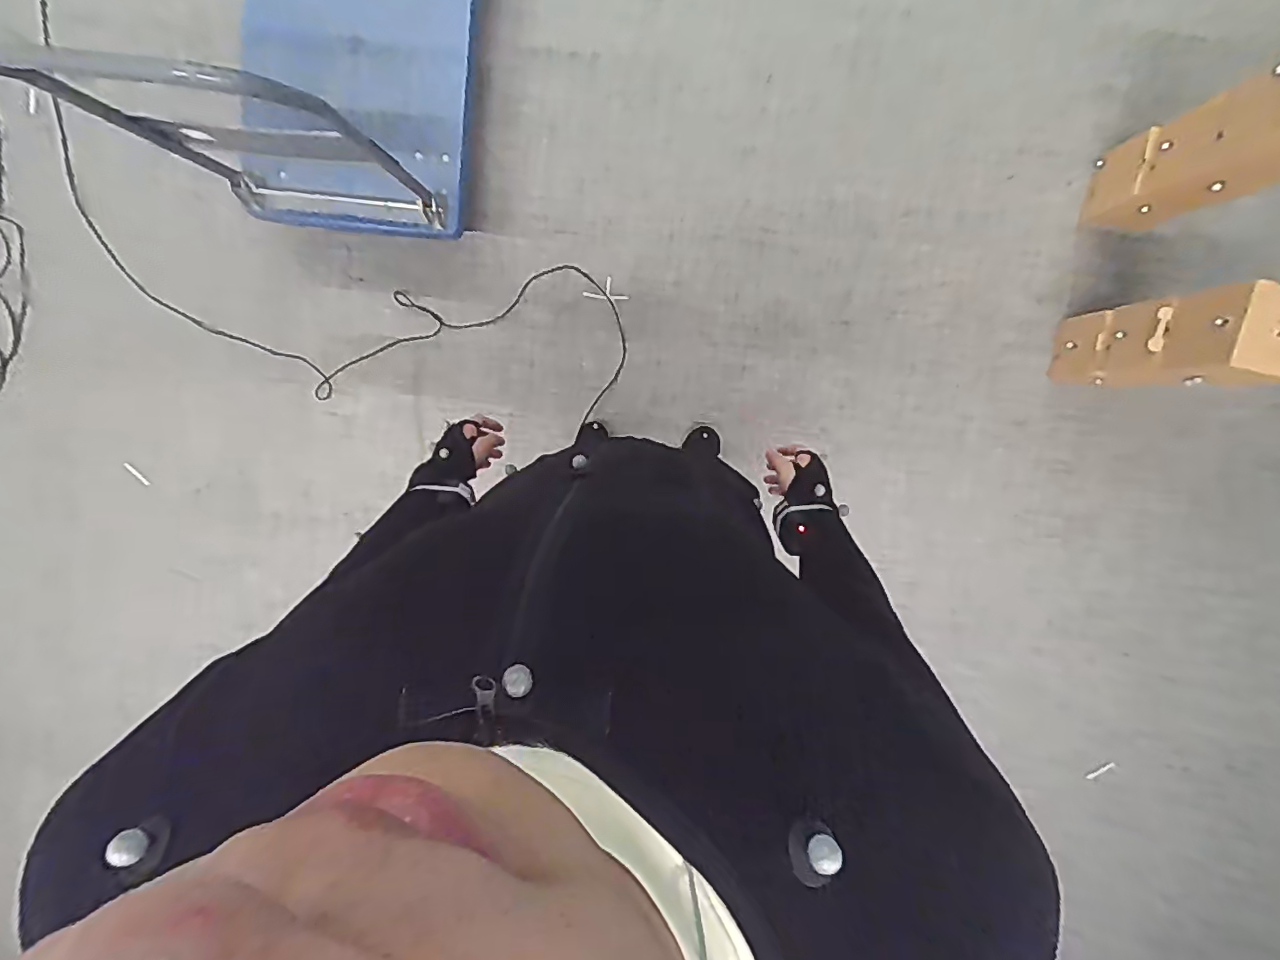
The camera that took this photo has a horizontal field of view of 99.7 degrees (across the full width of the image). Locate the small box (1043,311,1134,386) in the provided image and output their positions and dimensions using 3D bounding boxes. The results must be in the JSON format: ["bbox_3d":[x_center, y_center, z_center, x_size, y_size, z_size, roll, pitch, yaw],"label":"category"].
[{"bbox_3d":[1.258,-0.353,1.480,0.179,0.176,0.168,9,98,1],"label":"small box"}]

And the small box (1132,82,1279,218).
[{"bbox_3d":[1.335,-0.763,1.272,0.168,0.176,0.179,43,95,-2],"label":"small box"}]

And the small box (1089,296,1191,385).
[{"bbox_3d":[1.266,-0.332,1.317,0.179,0.176,0.168,13,96,-1],"label":"small box"}]

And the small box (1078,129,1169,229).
[{"bbox_3d":[1.318,-0.783,1.426,0.179,0.176,0.168,11,98,-2],"label":"small box"}]

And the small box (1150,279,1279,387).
[{"bbox_3d":[1.261,-0.305,1.156,0.168,0.176,0.179,13,97,0],"label":"small box"}]
